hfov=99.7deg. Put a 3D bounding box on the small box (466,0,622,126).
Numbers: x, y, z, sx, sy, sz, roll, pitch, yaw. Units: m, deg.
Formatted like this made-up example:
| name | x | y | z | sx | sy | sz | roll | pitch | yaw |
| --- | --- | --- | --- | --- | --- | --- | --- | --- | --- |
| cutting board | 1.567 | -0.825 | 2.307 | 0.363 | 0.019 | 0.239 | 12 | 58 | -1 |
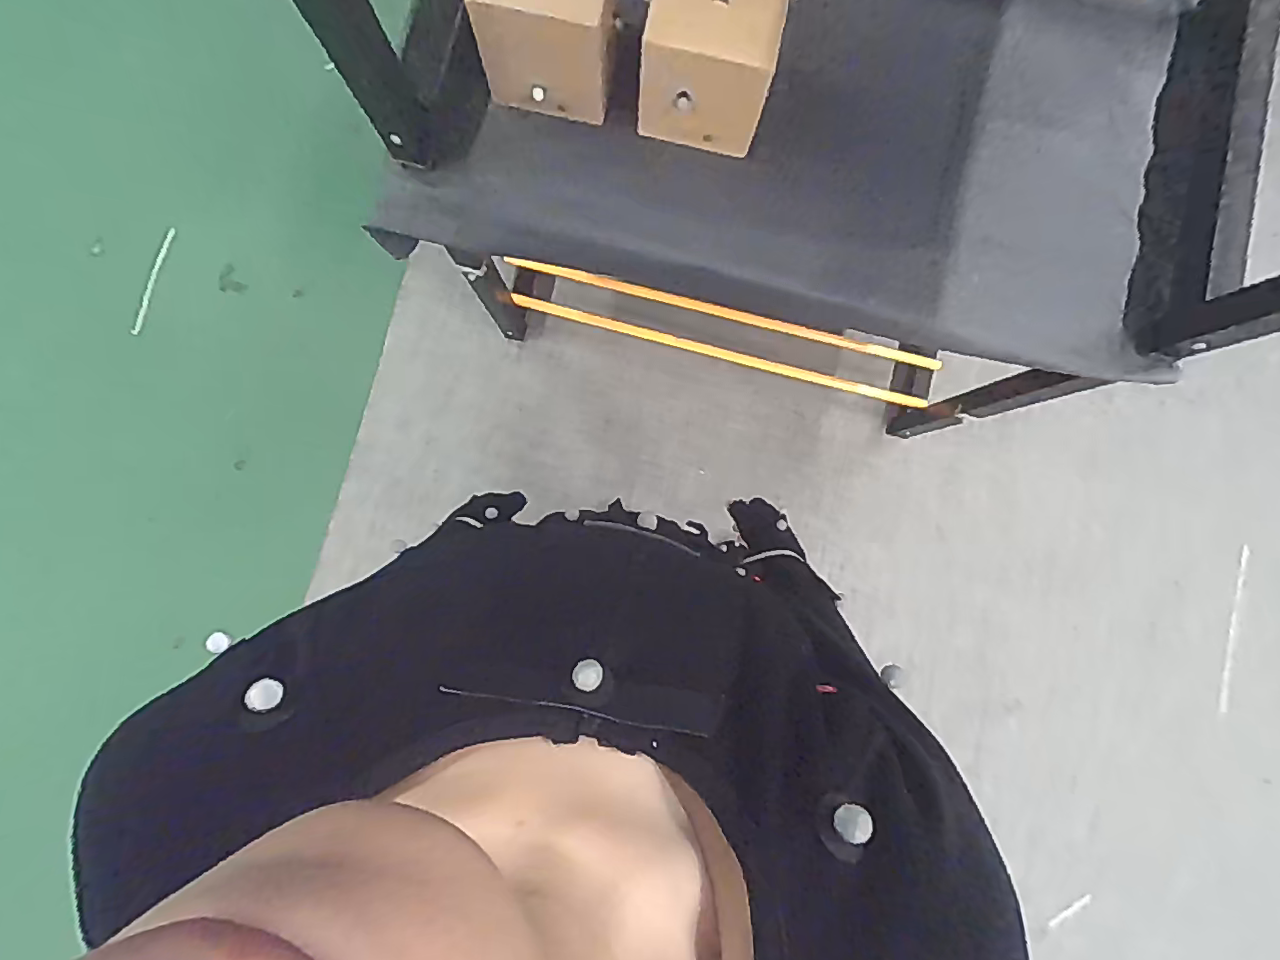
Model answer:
| name | x | y | z | sx | sy | sz | roll | pitch | yaw |
| --- | --- | --- | --- | --- | --- | --- | --- | --- | --- |
| small box | -0.118 | -0.629 | 0.726 | 0.168 | 0.176 | 0.179 | 11 | 86 | -1 |
